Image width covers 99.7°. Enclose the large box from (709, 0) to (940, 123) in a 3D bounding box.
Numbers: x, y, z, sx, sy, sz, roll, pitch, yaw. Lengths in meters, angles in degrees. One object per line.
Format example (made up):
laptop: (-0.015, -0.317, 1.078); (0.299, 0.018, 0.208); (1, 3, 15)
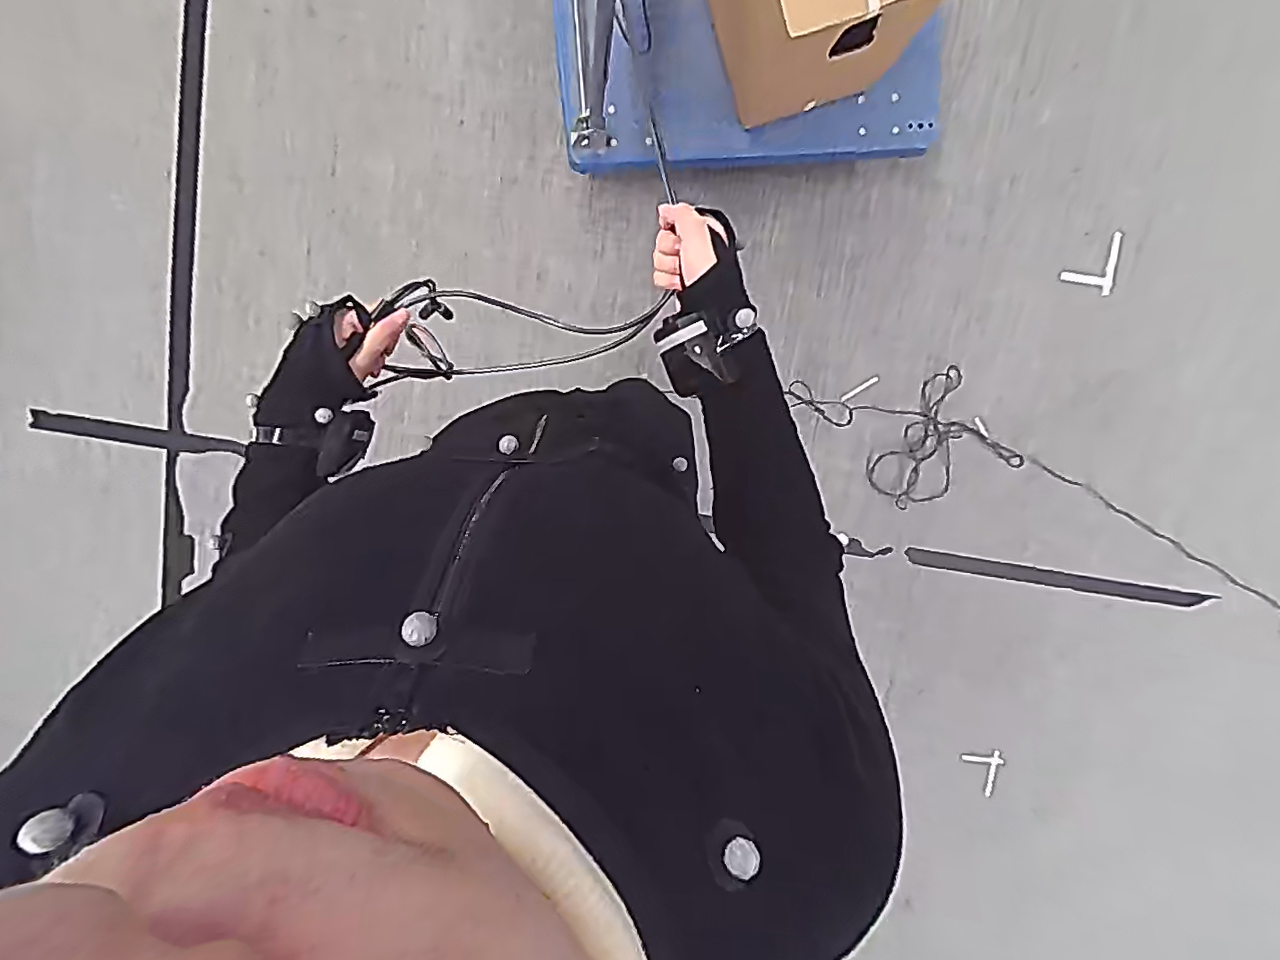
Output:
large box: (0.326, -1.016, 1.050); (0.320, 0.320, 0.408); (-19, 100, -1)
